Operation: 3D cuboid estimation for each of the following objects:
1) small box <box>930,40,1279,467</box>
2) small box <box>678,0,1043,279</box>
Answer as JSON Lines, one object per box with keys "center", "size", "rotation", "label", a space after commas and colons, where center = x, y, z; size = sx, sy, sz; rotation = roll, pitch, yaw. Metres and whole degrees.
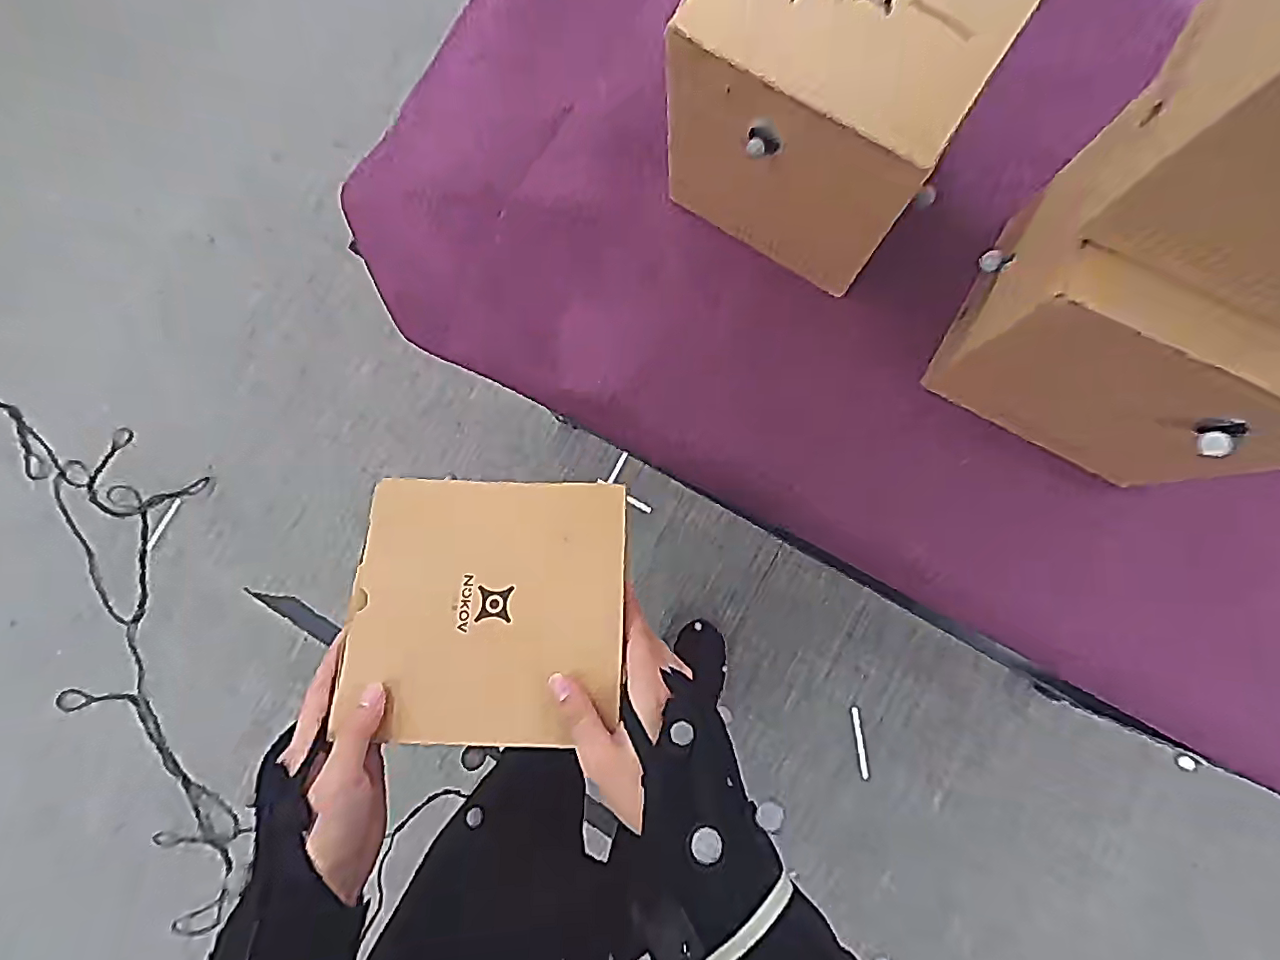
{"center": [0.342, -0.121, 0.360], "size": [0.179, 0.176, 0.168], "rotation": [30, 86, 7], "label": "small box"}
{"center": [0.141, -0.281, 0.393], "size": [0.179, 0.176, 0.168], "rotation": [34, 87, 6], "label": "small box"}
